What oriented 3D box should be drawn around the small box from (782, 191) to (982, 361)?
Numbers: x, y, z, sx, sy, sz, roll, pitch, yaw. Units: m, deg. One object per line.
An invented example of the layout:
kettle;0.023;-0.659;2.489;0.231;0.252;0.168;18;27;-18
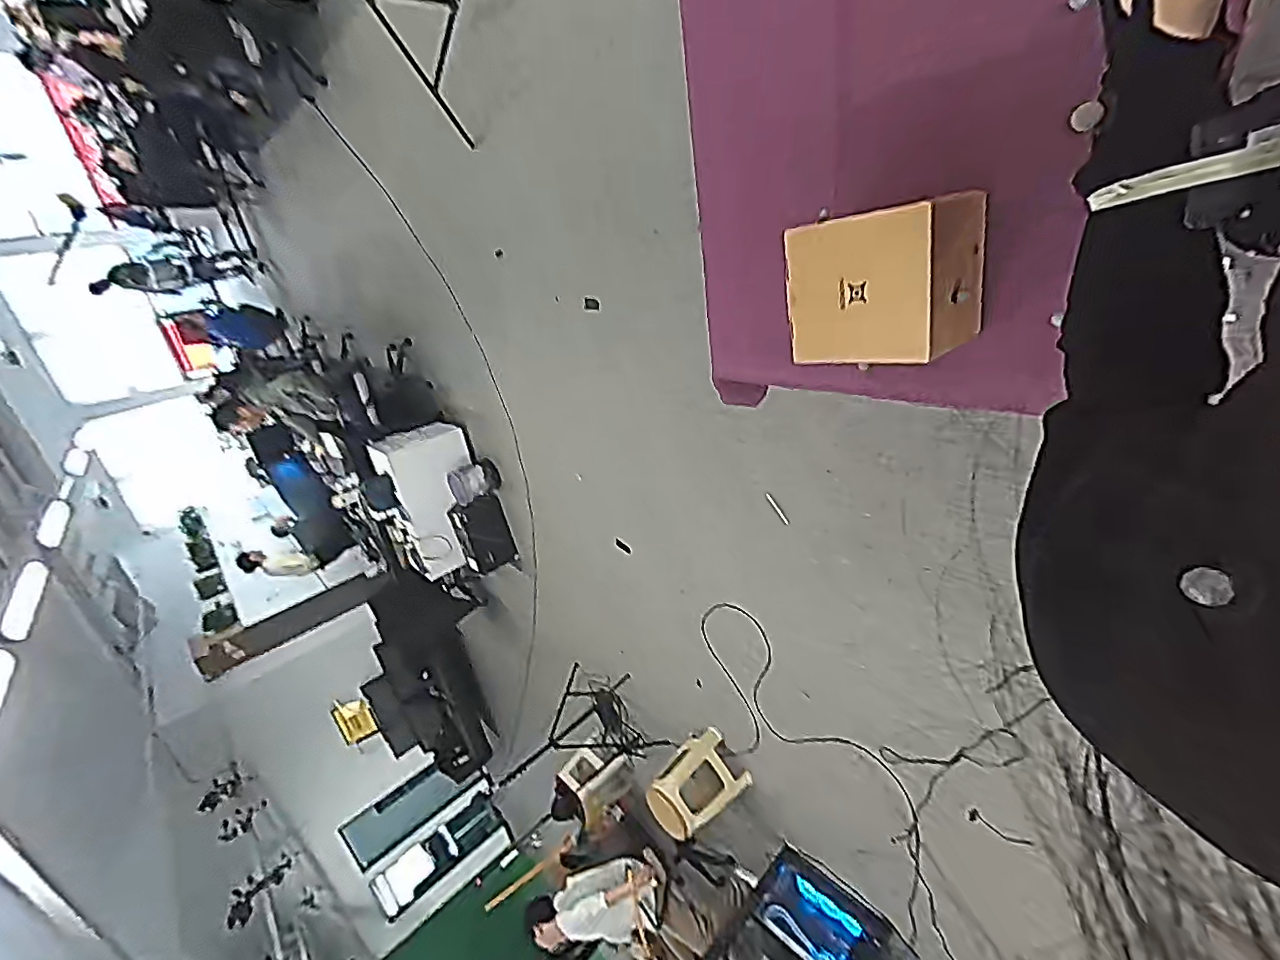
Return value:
small box;0.306;-0.252;0.679;0.179;0.176;0.168;14;123;48
